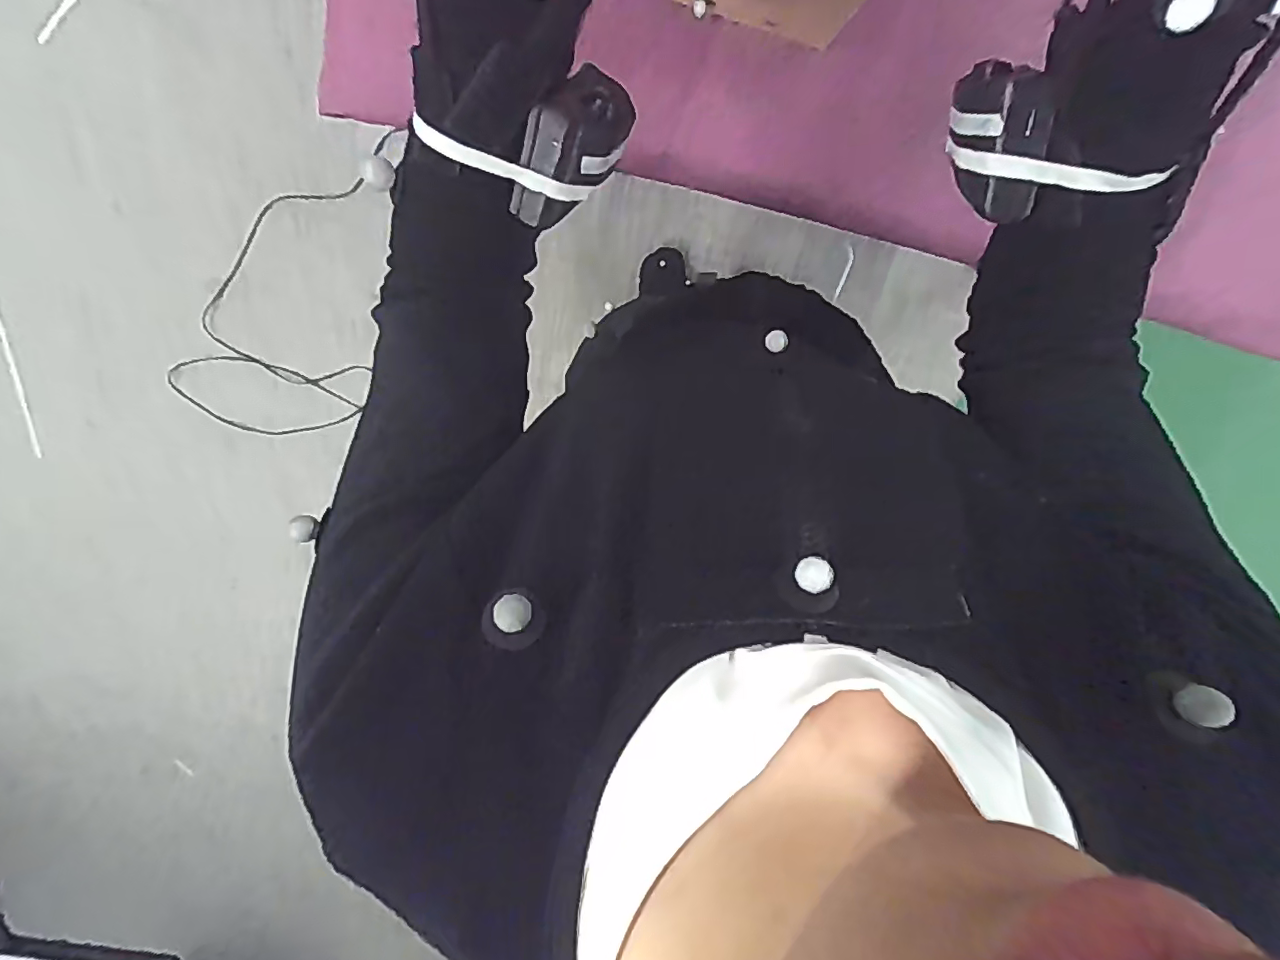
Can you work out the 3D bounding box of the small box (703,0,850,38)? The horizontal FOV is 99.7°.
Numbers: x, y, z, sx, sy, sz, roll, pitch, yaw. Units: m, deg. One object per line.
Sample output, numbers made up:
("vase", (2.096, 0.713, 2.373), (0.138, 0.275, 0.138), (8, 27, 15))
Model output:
("small box", (0.127, -0.507, 0.440), (0.168, 0.176, 0.179), (14, 113, -5))
